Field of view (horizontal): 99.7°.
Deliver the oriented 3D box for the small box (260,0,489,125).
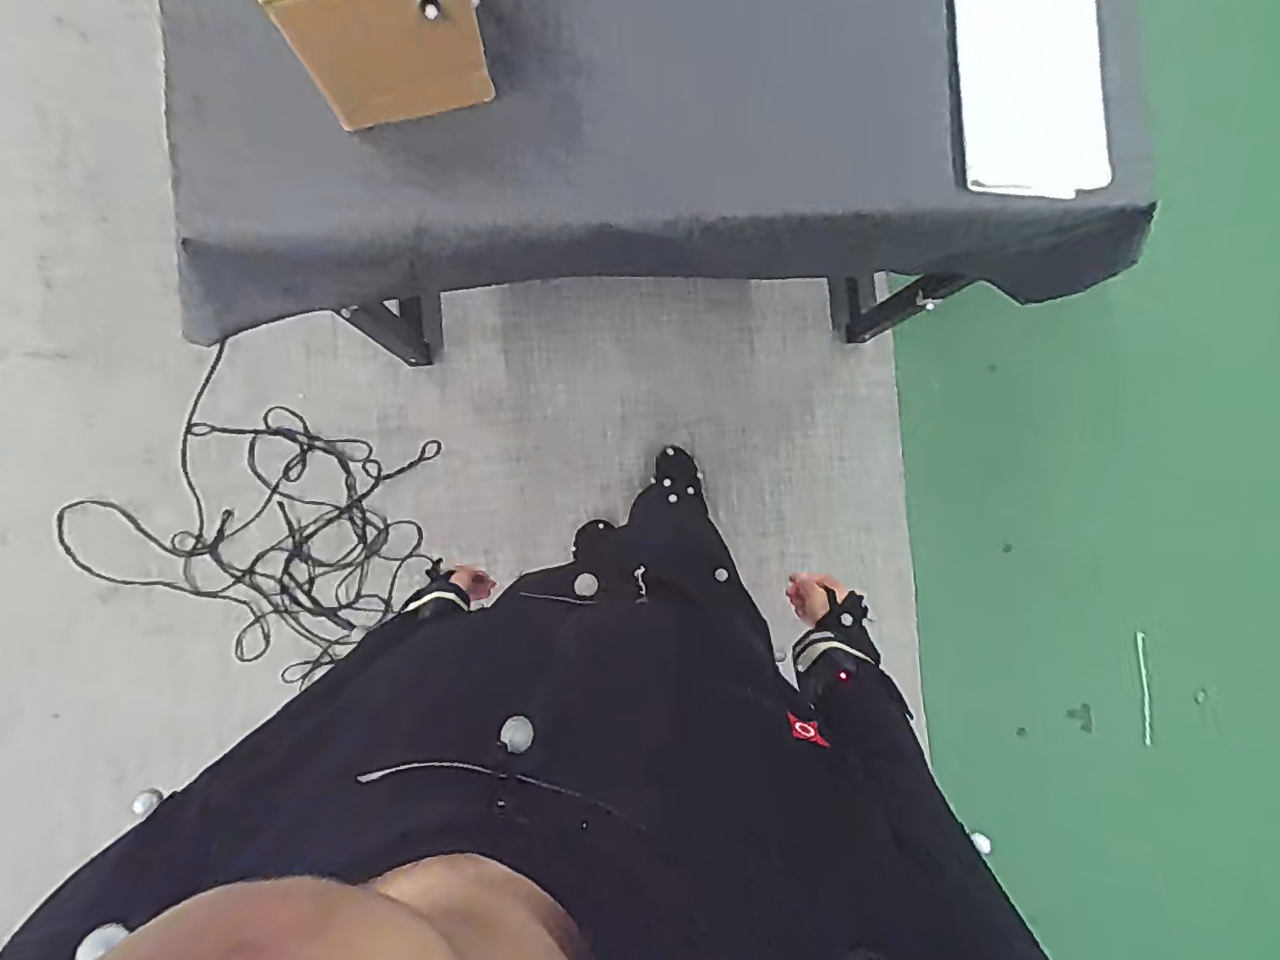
[{"bbox_3d":[-0.268,-0.495,0.538,0.179,0.176,0.168,-18,90,-7],"label":"small box"}]
